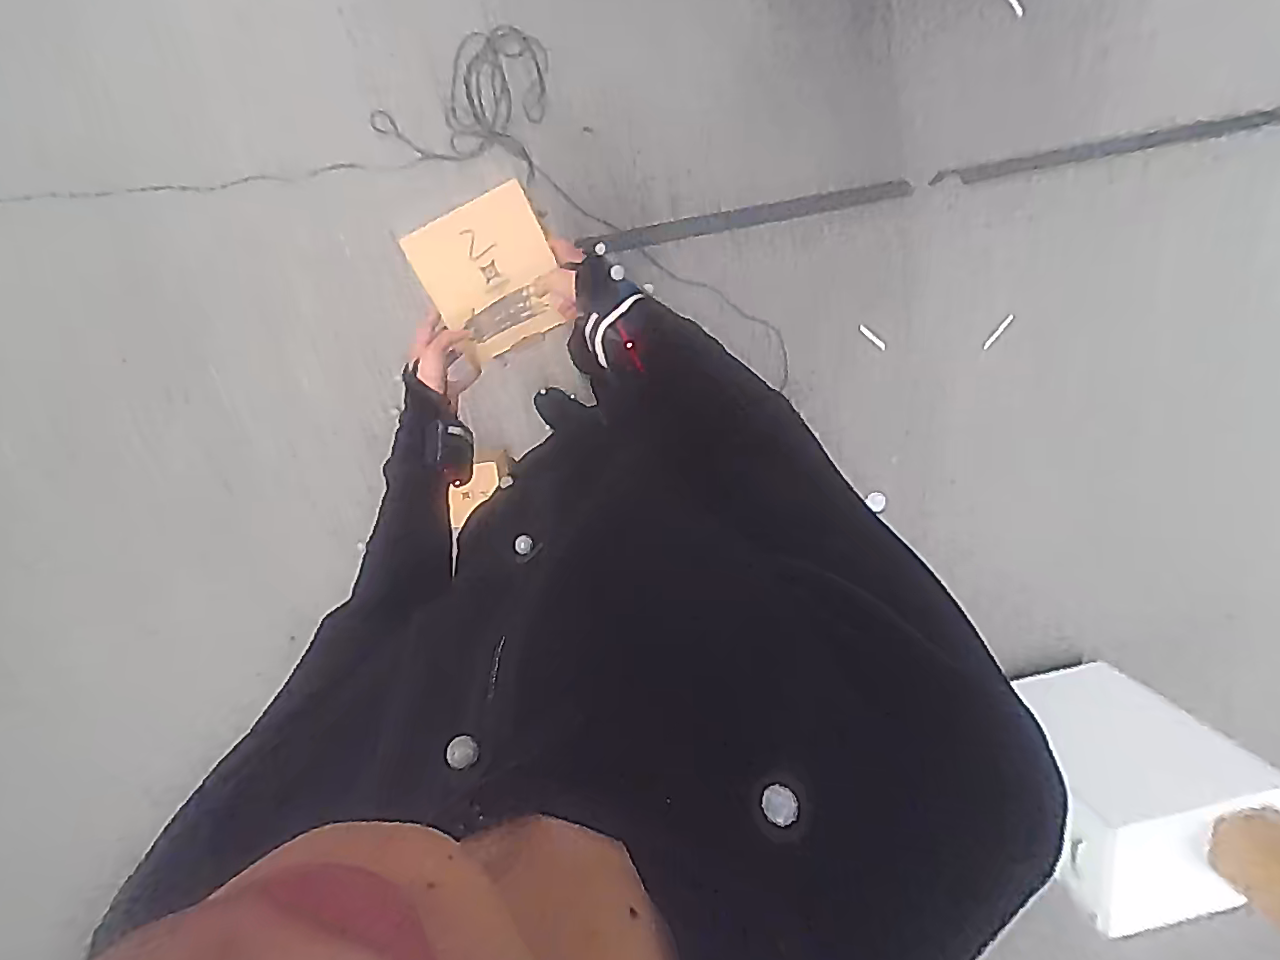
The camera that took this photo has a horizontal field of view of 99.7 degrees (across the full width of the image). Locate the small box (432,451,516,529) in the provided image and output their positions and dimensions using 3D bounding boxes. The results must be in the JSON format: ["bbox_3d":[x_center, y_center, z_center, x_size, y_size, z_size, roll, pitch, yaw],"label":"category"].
[{"bbox_3d":[-0.455,0.024,1.512,0.179,0.176,0.168,-9,106,-4],"label":"small box"}]

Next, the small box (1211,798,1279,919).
[{"bbox_3d":[1.602,0.945,1.356,0.168,0.176,0.179,-11,106,-4],"label":"small box"}]
